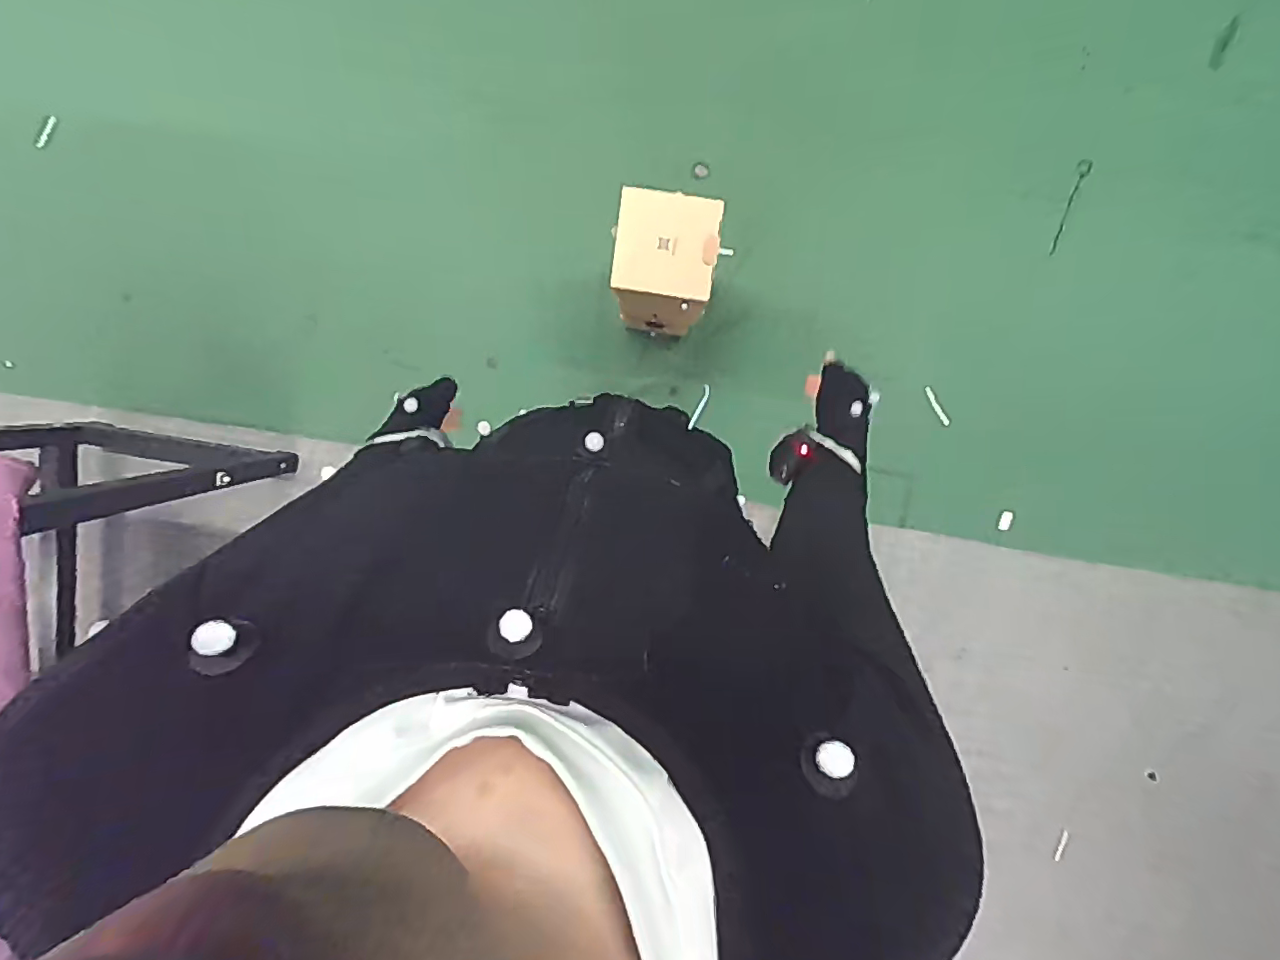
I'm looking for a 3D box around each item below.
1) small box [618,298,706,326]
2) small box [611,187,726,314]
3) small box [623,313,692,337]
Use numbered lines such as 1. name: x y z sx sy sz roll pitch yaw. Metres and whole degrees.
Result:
1. small box: 0.056 -0.433 1.153 0.179 0.176 0.168 11 97 -1
2. small box: 0.049 -0.410 0.994 0.179 0.176 0.168 8 99 -1
3. small box: 0.054 -0.456 1.318 0.168 0.176 0.179 9 99 0
